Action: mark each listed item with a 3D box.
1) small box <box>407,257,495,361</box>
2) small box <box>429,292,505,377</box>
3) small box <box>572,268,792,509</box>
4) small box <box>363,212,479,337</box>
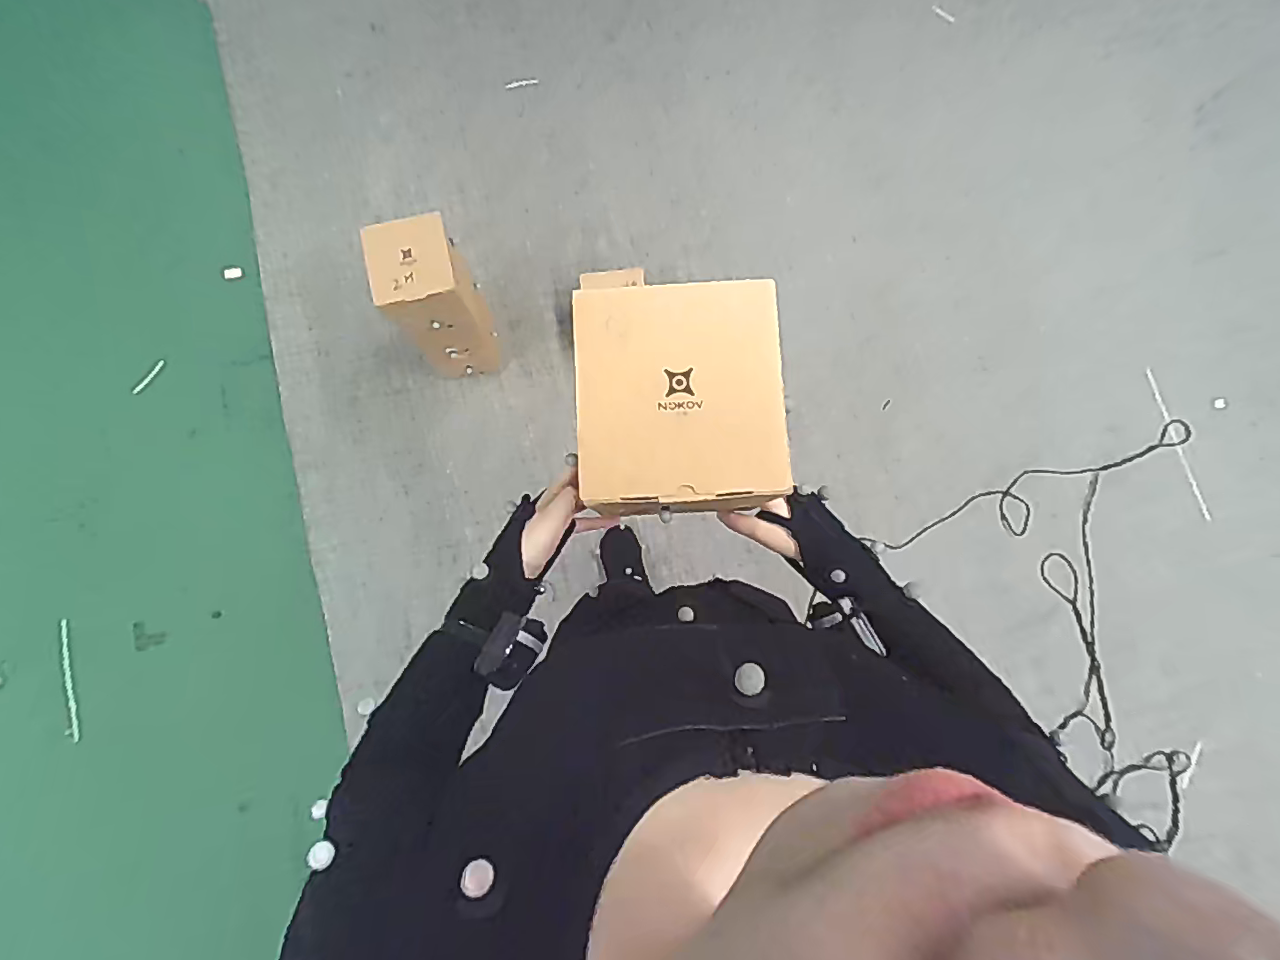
[{"bbox_3d":[-0.468,-0.412,1.320,0.168,0.176,0.179,-13,84,-2],"label":"small box"},{"bbox_3d":[-0.477,-0.391,1.481,0.168,0.176,0.179,-10,84,-3],"label":"small box"},{"bbox_3d":[0.031,-0.069,0.497,0.168,0.176,0.179,-3,84,1],"label":"small box"},{"bbox_3d":[-0.460,-0.431,1.156,0.168,0.176,0.179,-13,83,-2],"label":"small box"}]
